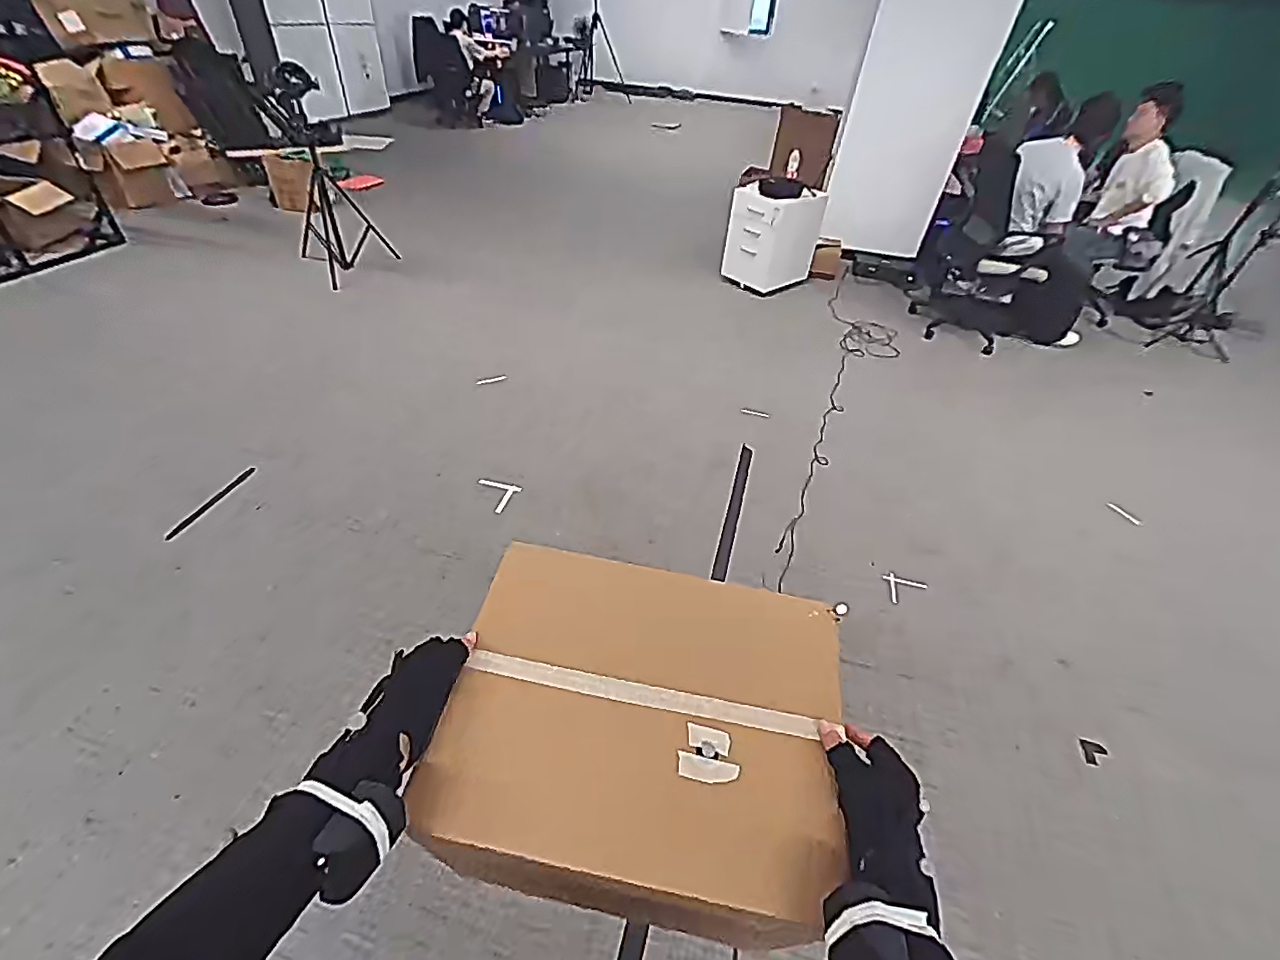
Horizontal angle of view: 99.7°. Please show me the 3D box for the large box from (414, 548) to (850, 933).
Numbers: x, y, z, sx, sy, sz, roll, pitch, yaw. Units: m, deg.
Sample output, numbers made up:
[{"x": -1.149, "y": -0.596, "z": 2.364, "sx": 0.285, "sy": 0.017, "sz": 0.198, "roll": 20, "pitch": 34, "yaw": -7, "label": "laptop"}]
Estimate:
[{"x": -0.001, "y": 0.328, "z": 0.686, "sx": 0.408, "sy": 0.320, "sz": 0.320, "roll": 11, "pitch": 48, "yaw": 4, "label": "large box"}]
